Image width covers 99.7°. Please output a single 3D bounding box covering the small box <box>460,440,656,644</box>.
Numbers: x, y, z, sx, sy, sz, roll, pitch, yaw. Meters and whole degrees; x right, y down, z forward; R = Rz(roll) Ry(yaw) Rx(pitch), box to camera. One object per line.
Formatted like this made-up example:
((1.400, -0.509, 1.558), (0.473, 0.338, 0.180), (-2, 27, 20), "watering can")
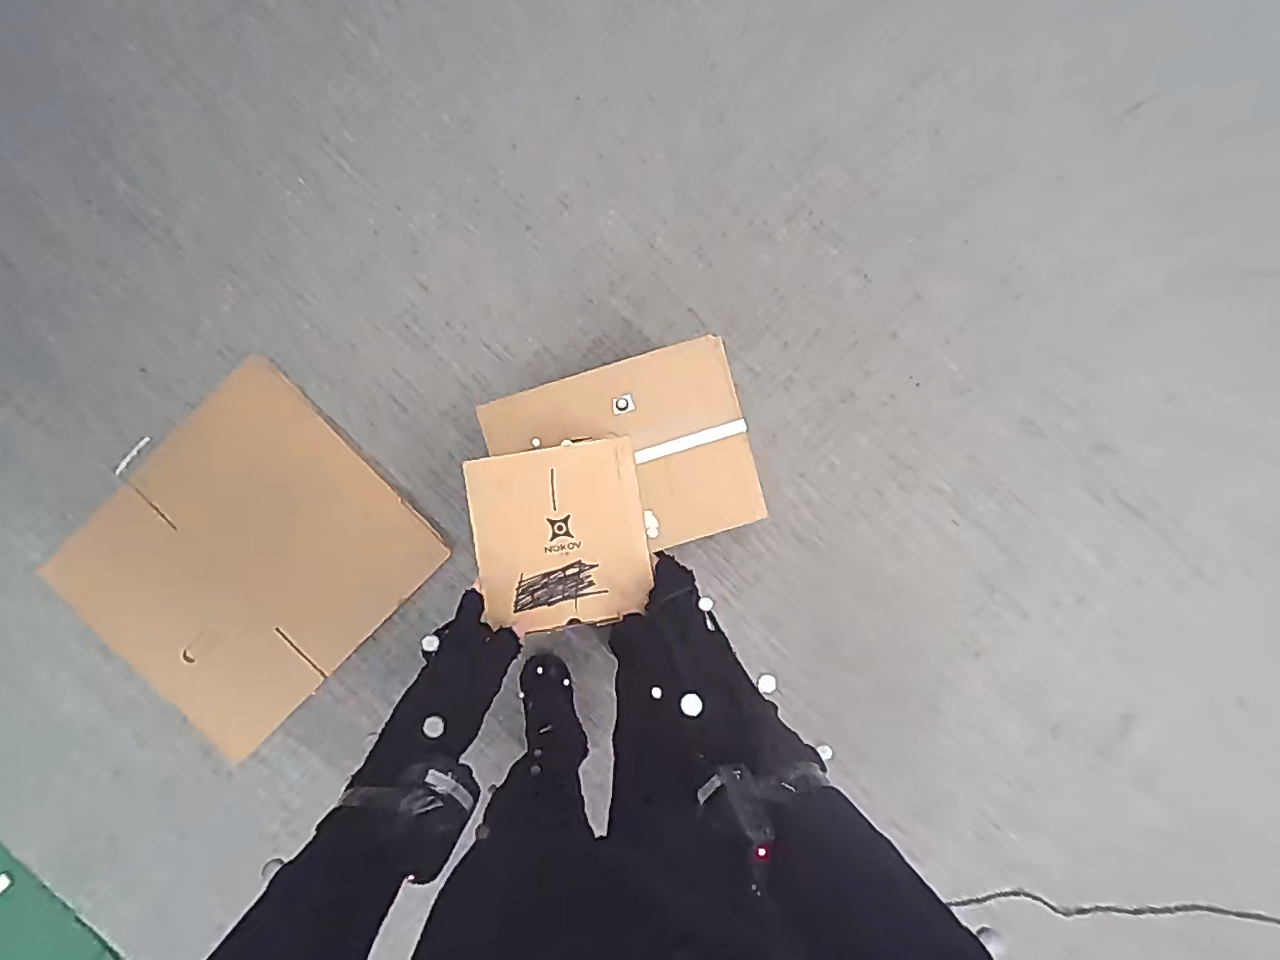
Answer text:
((-0.078, 0.060, 0.609), (0.168, 0.176, 0.179), (-13, 90, 1), "small box")
